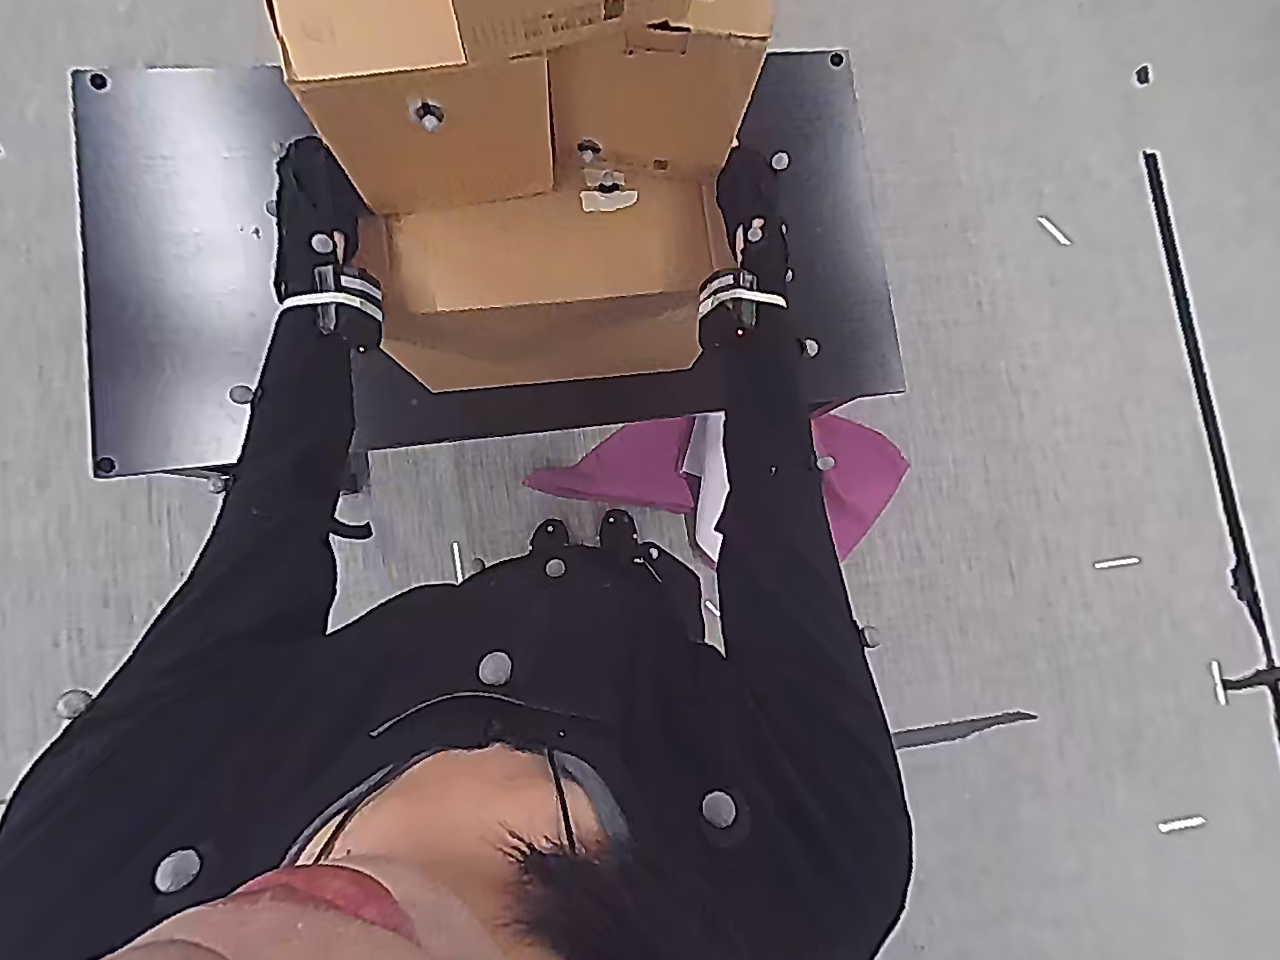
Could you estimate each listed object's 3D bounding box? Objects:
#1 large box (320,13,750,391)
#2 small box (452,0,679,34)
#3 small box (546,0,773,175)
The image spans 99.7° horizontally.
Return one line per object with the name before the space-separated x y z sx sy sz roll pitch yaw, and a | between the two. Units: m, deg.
large box | -0.119 -0.319 0.694 0.408 0.320 0.320 -7 87 -8
small box | -0.056 -0.395 0.297 0.168 0.176 0.179 -19 89 -8
small box | 0.014 -0.402 0.470 0.168 0.176 0.179 5 84 -6
